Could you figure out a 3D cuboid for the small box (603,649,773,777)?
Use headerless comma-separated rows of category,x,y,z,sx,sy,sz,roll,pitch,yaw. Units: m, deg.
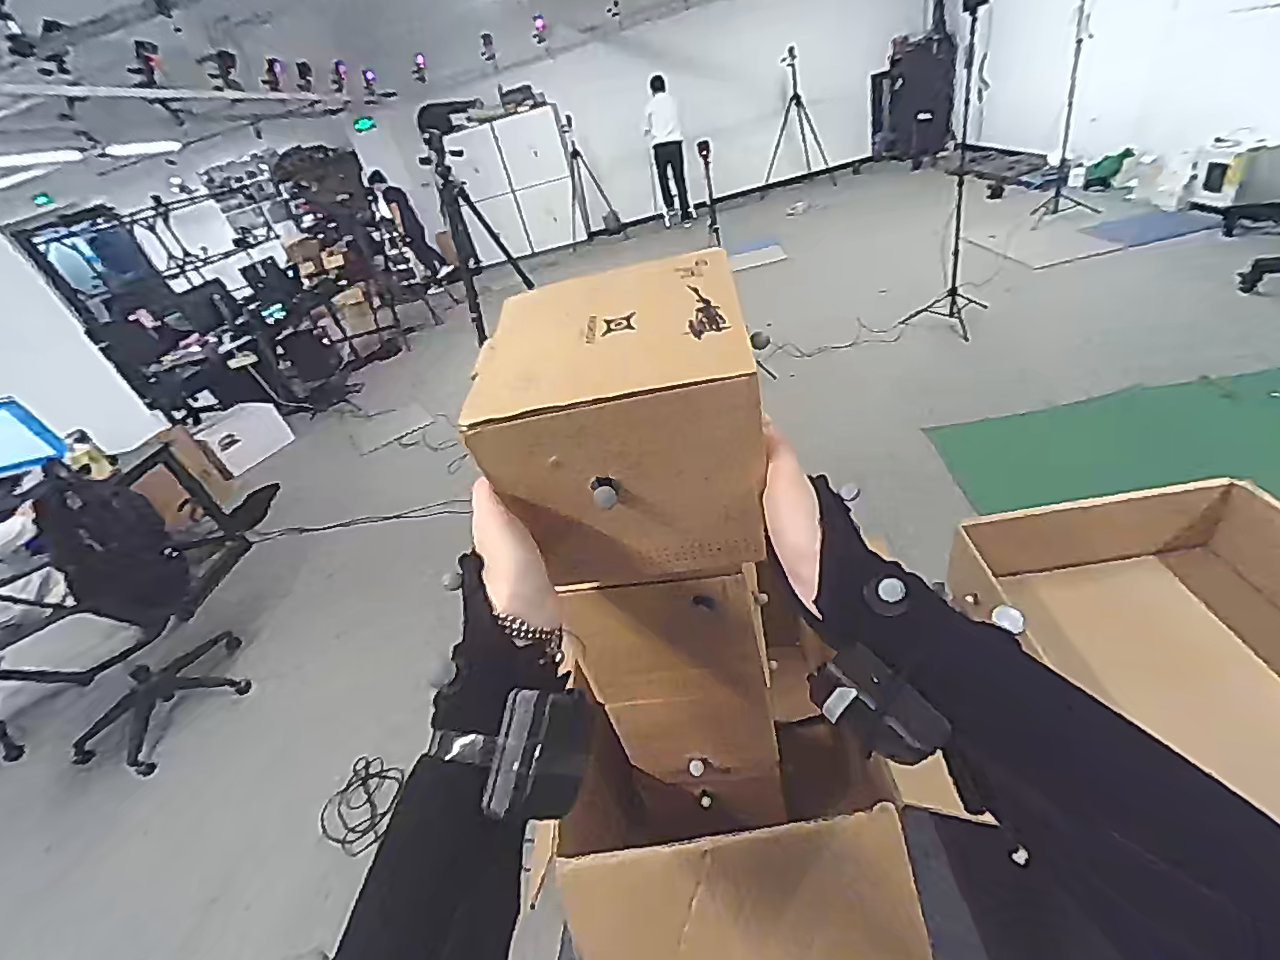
small box,0.064,0.231,0.655,0.168,0.176,0.179,-9,37,11

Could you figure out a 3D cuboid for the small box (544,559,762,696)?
small box,0.024,0.105,0.562,0.179,0.176,0.168,-8,35,11

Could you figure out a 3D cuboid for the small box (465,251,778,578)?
small box,0.001,-0.041,0.409,0.179,0.176,0.168,-9,46,10
